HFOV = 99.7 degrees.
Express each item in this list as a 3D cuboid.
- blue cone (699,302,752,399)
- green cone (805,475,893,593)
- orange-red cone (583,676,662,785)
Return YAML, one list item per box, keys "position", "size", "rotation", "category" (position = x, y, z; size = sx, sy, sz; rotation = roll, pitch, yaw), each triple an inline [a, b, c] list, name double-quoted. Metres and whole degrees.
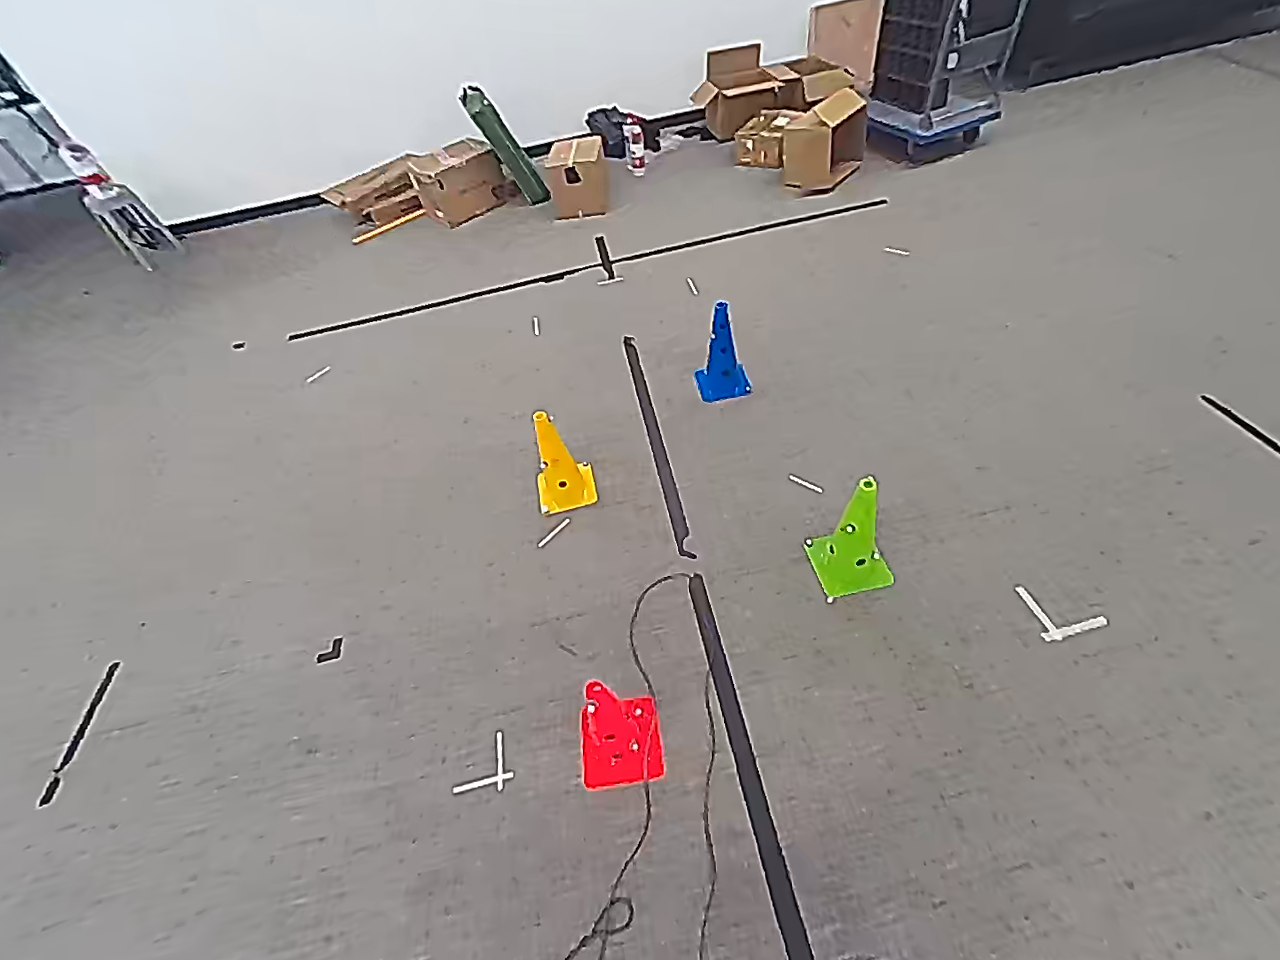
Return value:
- position: [0.322, -0.507, 2.076]
  size: [0.192, 0.380, 0.193]
  rotation: [-9, 49, 1]
  category: "blue cone"
- position: [0.589, 0.123, 1.463]
  size: [0.202, 0.368, 0.200]
  rotation: [-12, 49, -2]
  category: "green cone"
- position: [-0.073, 0.536, 1.231]
  size: [0.199, 0.360, 0.198]
  rotation: [-10, 47, 3]
  category: "orange-red cone"
